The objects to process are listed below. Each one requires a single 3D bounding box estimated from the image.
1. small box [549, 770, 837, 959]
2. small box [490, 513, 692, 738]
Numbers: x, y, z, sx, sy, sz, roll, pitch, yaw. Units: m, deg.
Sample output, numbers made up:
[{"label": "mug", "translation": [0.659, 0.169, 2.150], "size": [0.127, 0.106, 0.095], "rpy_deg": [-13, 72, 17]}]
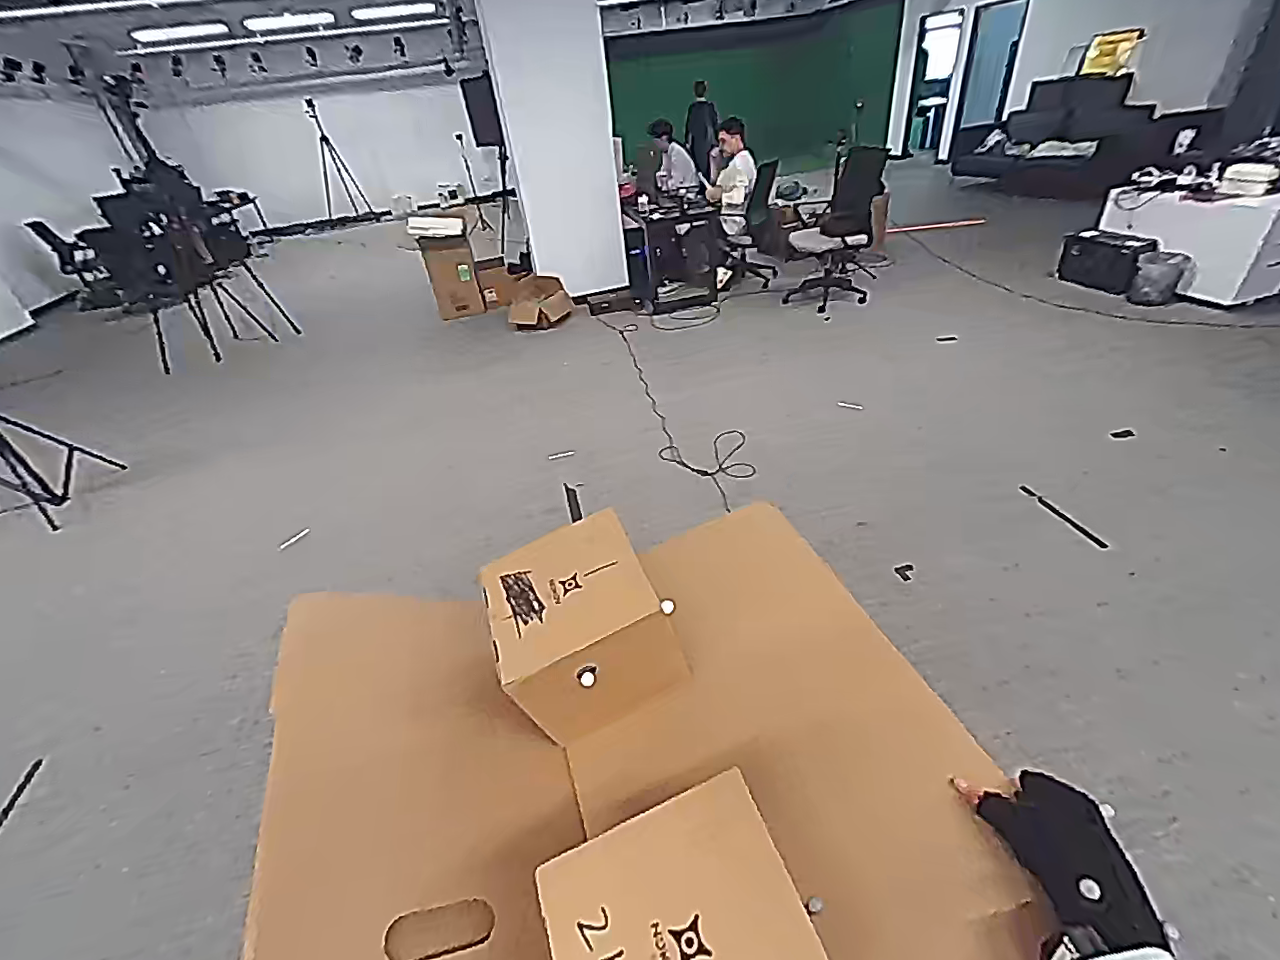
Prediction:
[{"label": "small box", "translation": [0.052, 0.368, 0.426], "size": [0.179, 0.176, 0.168], "rpy_deg": [-25, 43, -3]}, {"label": "small box", "translation": [-0.057, 0.179, 0.658], "size": [0.179, 0.176, 0.168], "rpy_deg": [-25, 43, -5]}]
